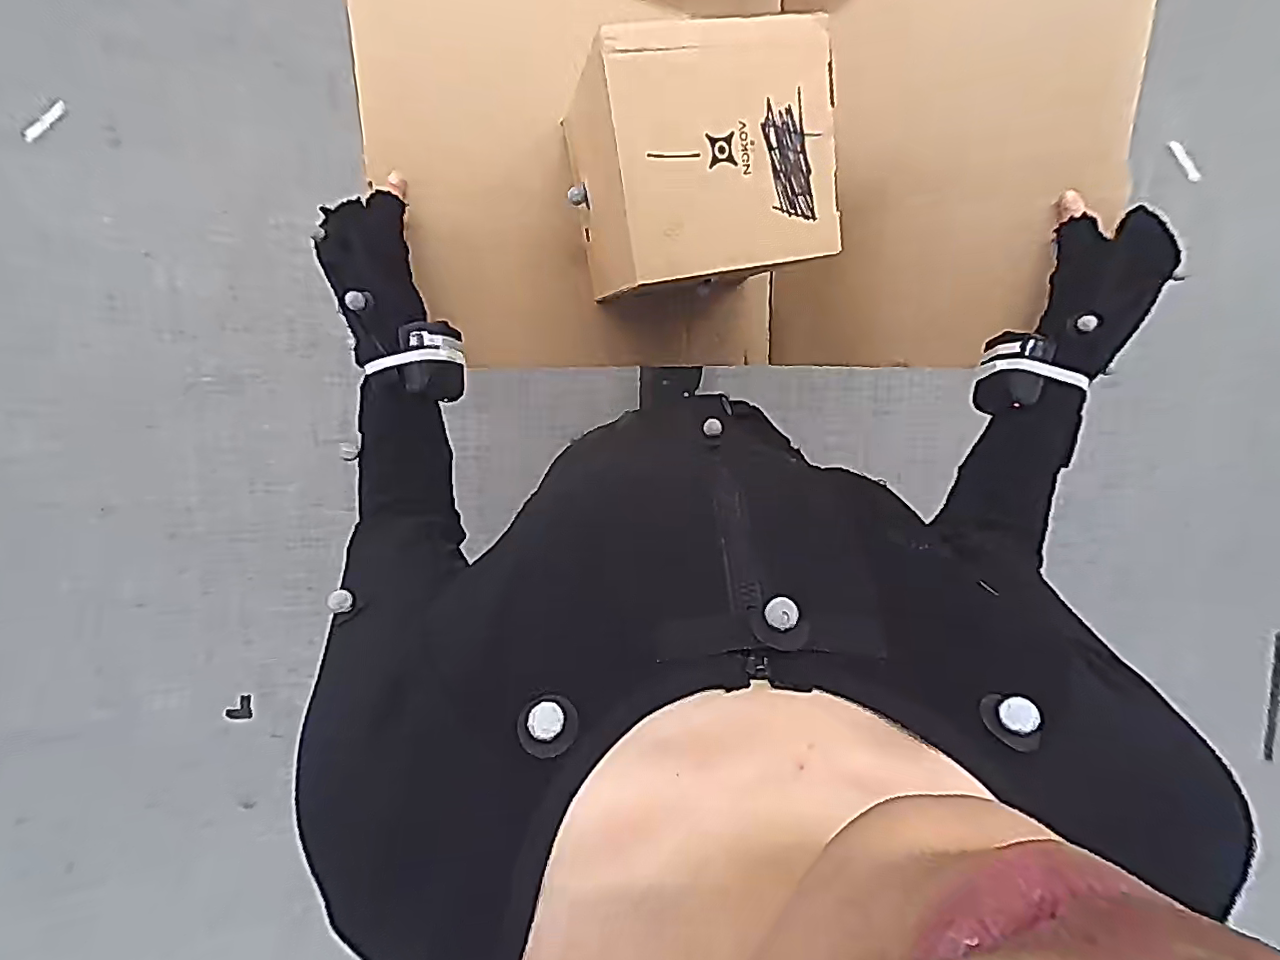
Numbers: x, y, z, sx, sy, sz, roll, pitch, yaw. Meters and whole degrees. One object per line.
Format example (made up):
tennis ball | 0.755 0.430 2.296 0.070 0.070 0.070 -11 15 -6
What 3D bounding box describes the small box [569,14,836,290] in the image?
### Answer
small box | 0.047 -0.270 0.479 0.179 0.176 0.168 -13 107 -12
